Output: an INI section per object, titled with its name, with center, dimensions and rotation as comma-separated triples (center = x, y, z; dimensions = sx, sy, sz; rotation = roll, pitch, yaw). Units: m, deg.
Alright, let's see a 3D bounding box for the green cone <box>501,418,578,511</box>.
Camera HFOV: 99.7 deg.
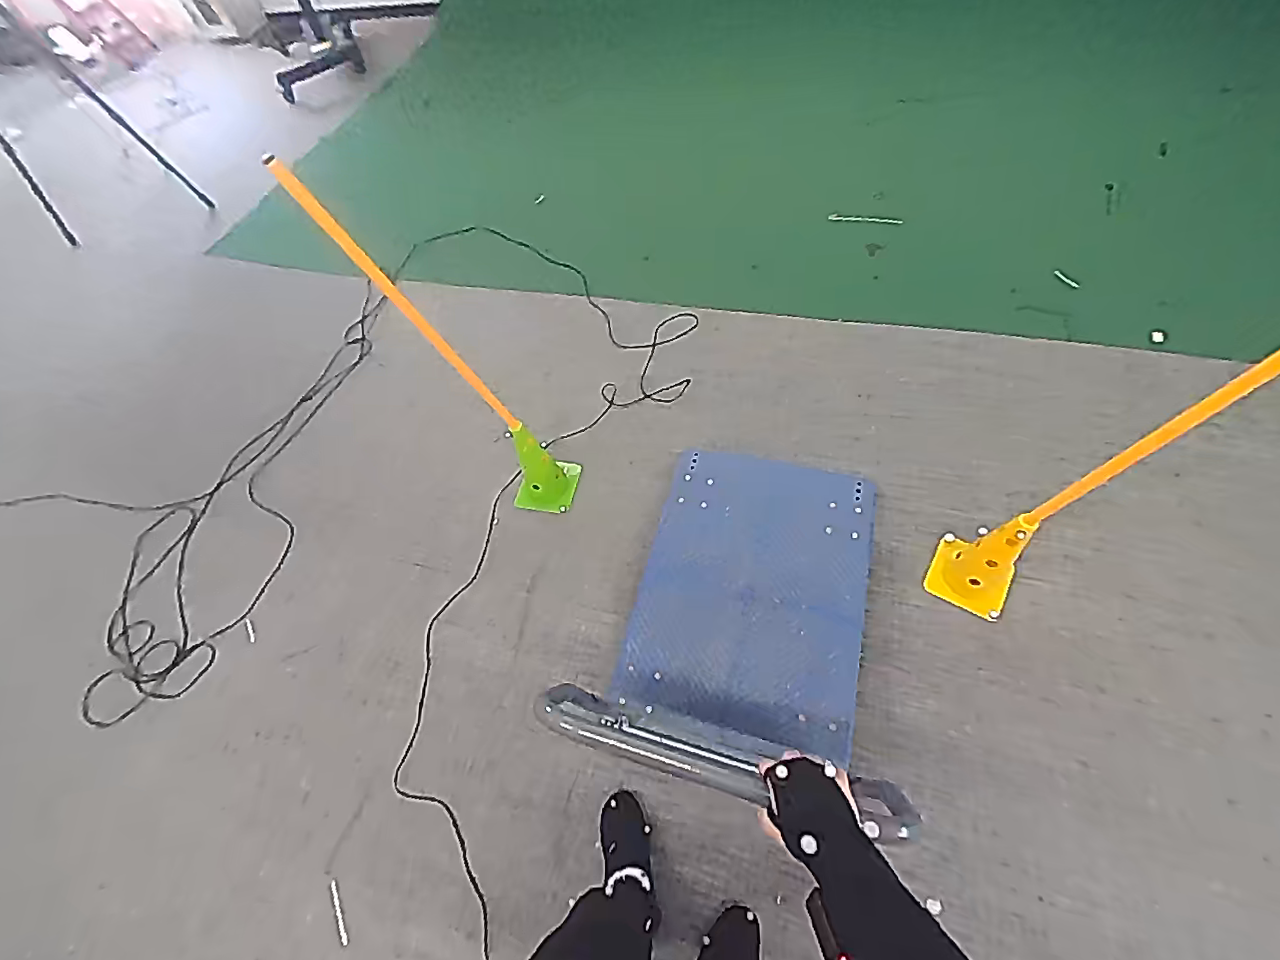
[green cone]
center = -0.356, -0.077, 1.739
dimensions = 0.202, 0.368, 0.200
rotation = 6, 60, 14
